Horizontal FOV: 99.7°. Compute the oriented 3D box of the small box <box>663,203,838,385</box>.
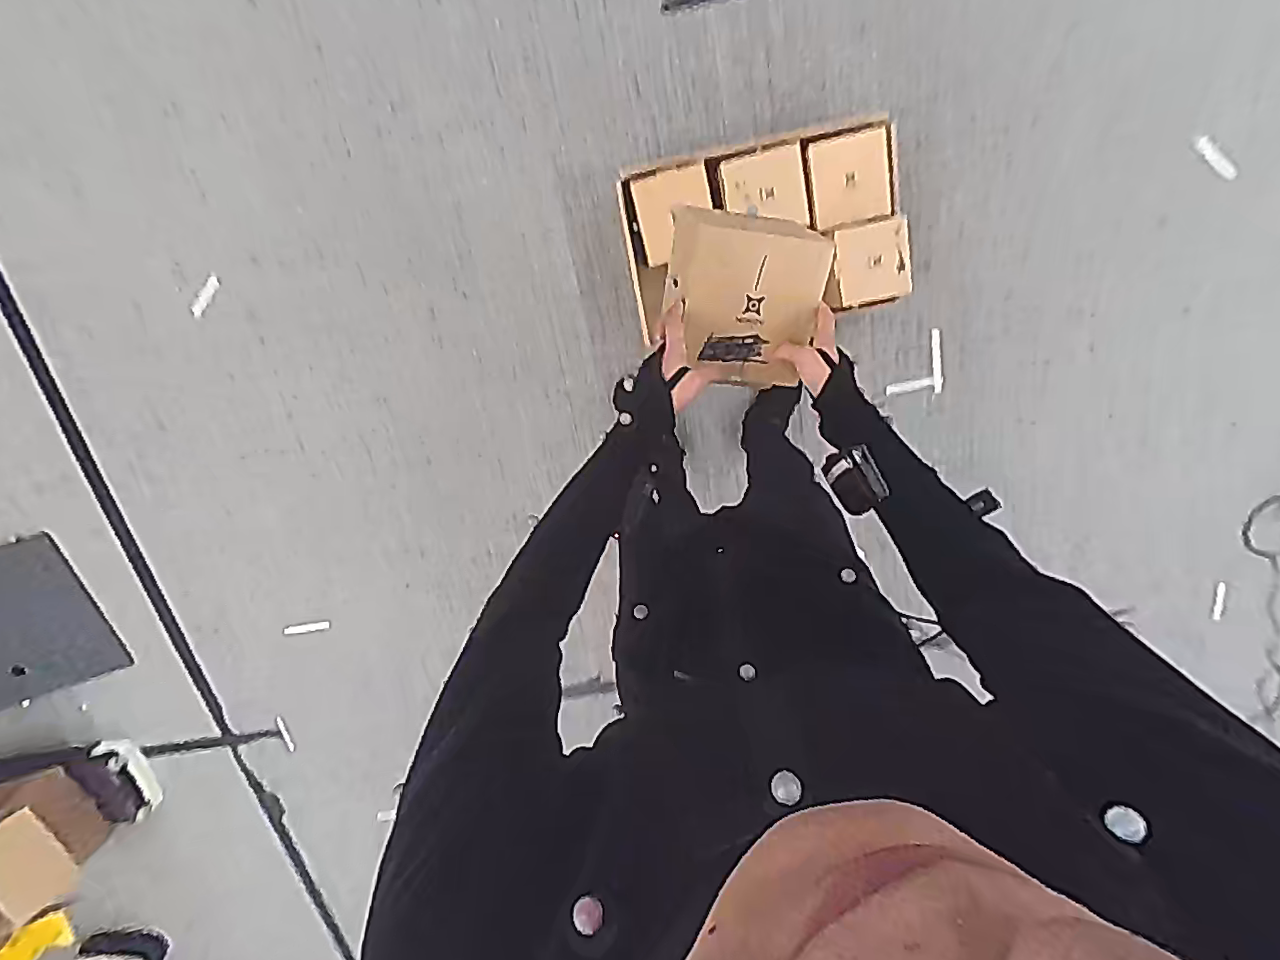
[{"bbox_3d":[0.127,-0.247,0.710,0.168,0.176,0.179,5,123,-8],"label":"small box"}]
